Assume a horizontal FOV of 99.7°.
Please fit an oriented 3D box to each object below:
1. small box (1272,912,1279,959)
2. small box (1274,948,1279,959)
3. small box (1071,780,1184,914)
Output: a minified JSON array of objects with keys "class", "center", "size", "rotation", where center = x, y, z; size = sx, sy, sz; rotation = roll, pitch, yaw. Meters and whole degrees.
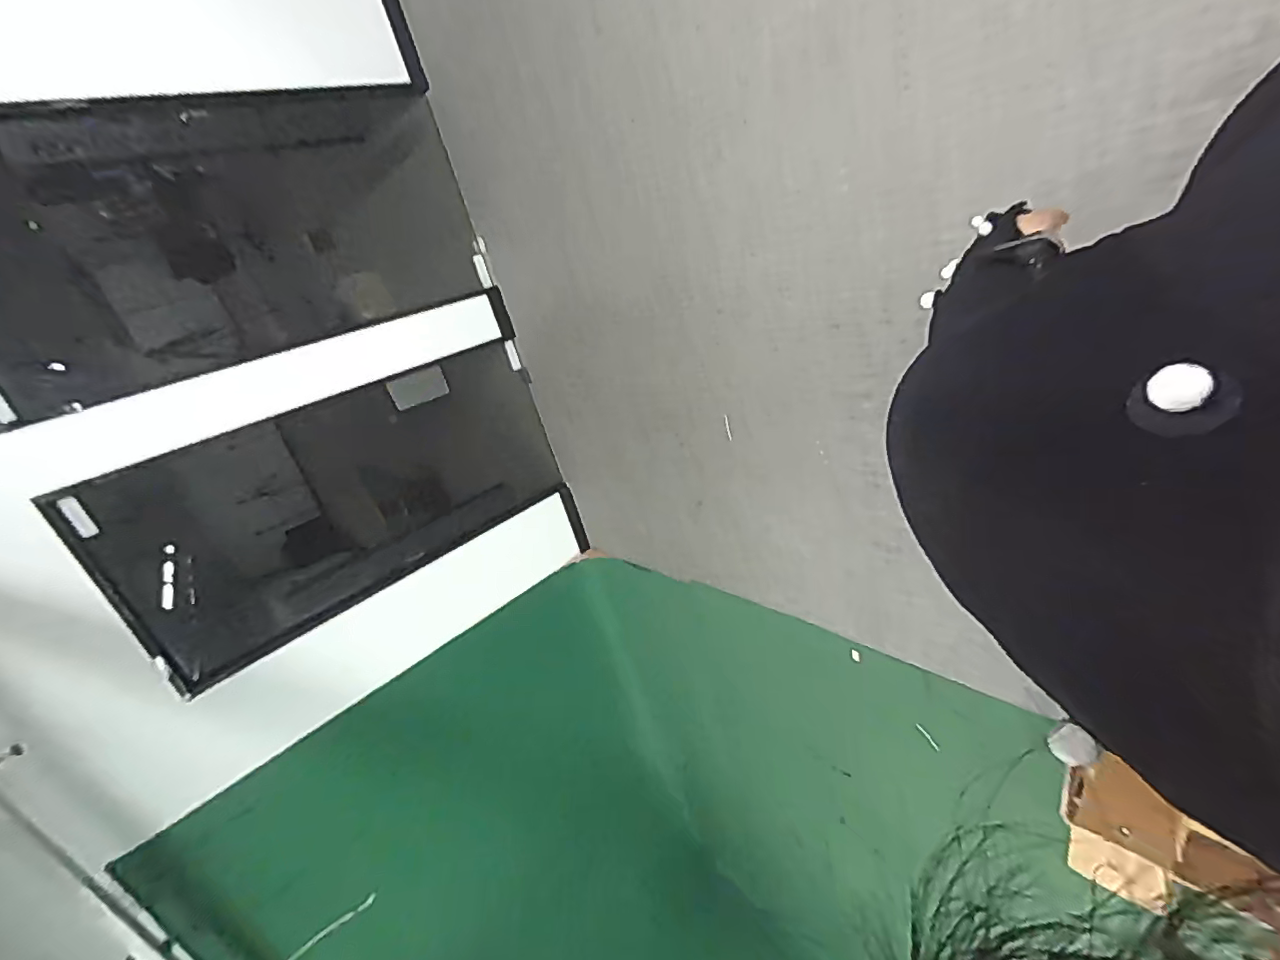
[{"class":"small box","center":[1.402,0.945,1.065],"size":[0.179,0.176,0.168],"rotation":[16,127,49]},{"class":"small box","center":[1.273,1.011,0.985],"size":[0.179,0.176,0.168],"rotation":[15,127,49]},{"class":"small box","center":[1.182,0.877,1.313],"size":[0.179,0.176,0.168],"rotation":[12,123,48]}]
